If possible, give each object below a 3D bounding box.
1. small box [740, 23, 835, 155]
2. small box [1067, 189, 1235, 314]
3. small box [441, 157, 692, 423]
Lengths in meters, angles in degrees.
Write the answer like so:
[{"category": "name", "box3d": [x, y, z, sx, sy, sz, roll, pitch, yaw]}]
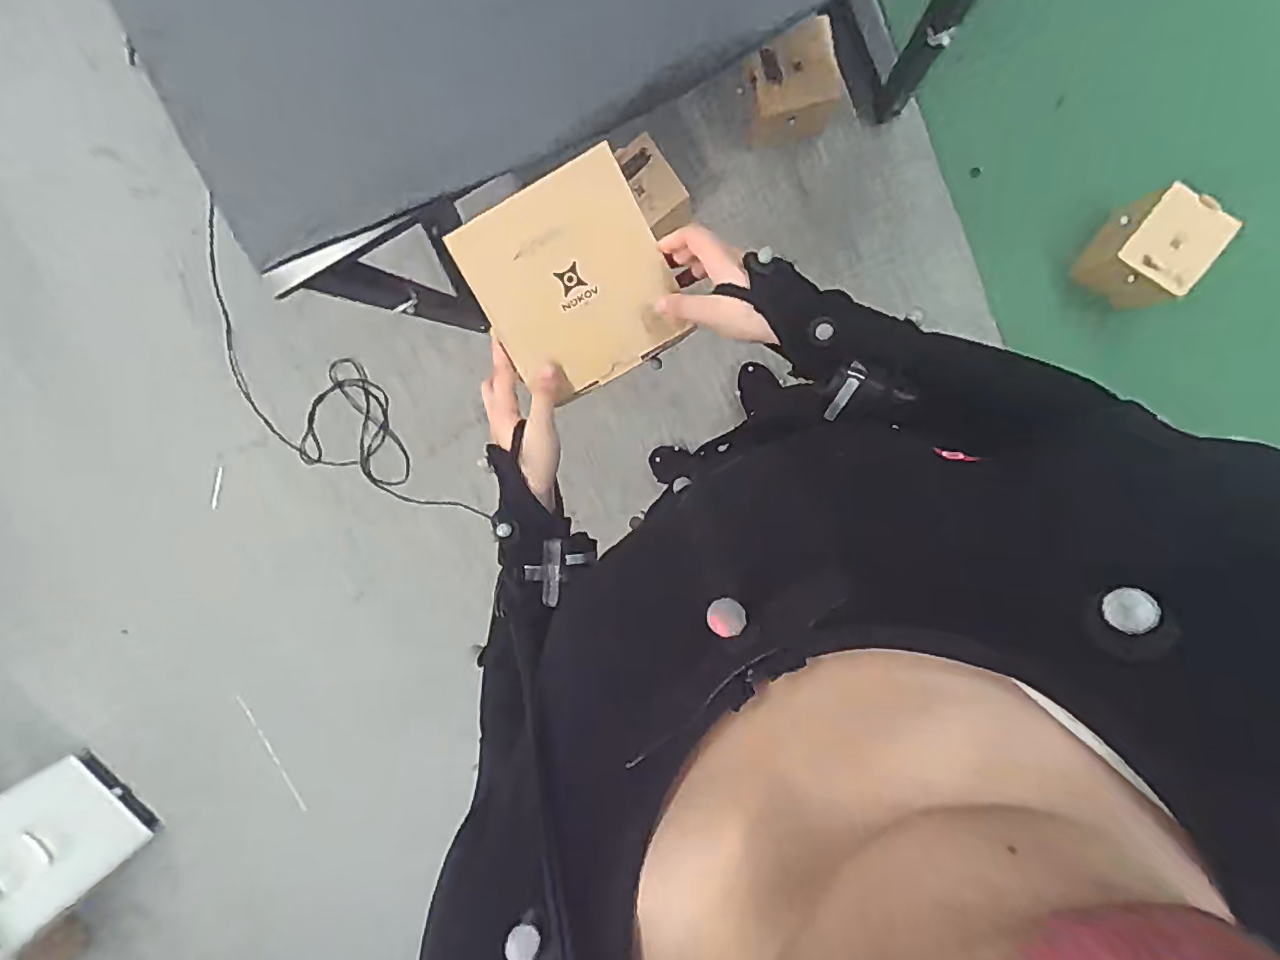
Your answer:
[{"category": "small box", "box3d": [0.329, -0.880, 1.238, 0.179, 0.176, 0.168, -11, 98, 7]}, {"category": "small box", "box3d": [1.118, -0.496, 1.203, 0.168, 0.176, 0.179, 34, 101, 1]}, {"category": "small box", "box3d": [-0.063, -0.178, 0.554, 0.168, 0.176, 0.179, -28, 100, 3]}]
